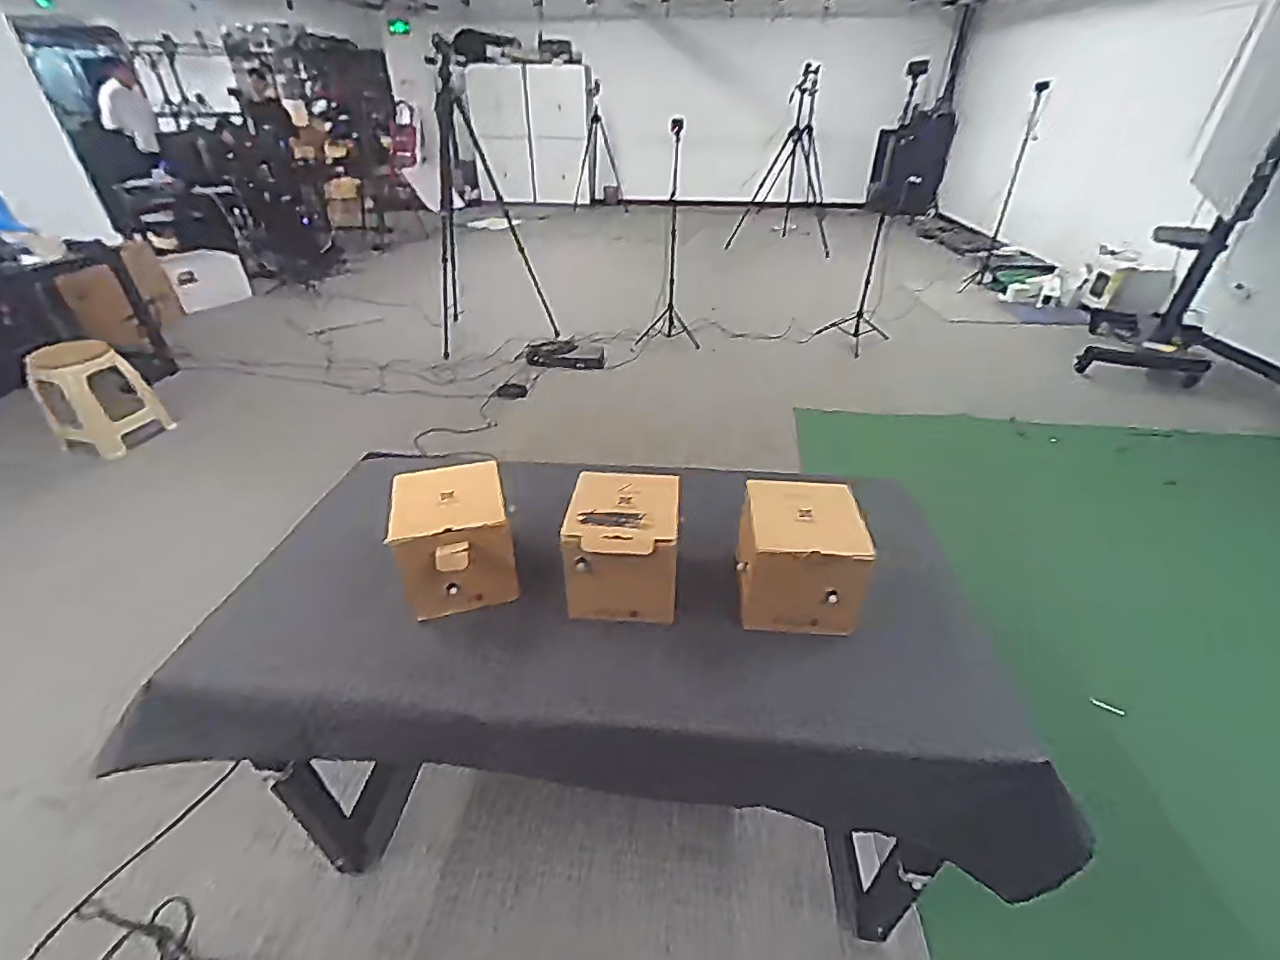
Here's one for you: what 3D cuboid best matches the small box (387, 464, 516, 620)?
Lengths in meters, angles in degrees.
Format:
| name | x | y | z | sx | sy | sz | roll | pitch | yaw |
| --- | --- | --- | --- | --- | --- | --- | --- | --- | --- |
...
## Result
| name | x | y | z | sx | sy | sz | roll | pitch | yaw |
| --- | --- | --- | --- | --- | --- | --- | --- | --- | --- |
| small box | -0.303 | 0.098 | 0.886 | 0.168 | 0.176 | 0.179 | -10 | 36 | -15 |

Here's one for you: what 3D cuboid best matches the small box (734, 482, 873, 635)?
| name | x | y | z | sx | sy | sz | roll | pitch | yaw |
| --- | --- | --- | --- | --- | --- | --- | --- | --- | --- |
| small box | 0.244 | 0.123 | 0.852 | 0.168 | 0.176 | 0.179 | 3 | 34 | 3 |
